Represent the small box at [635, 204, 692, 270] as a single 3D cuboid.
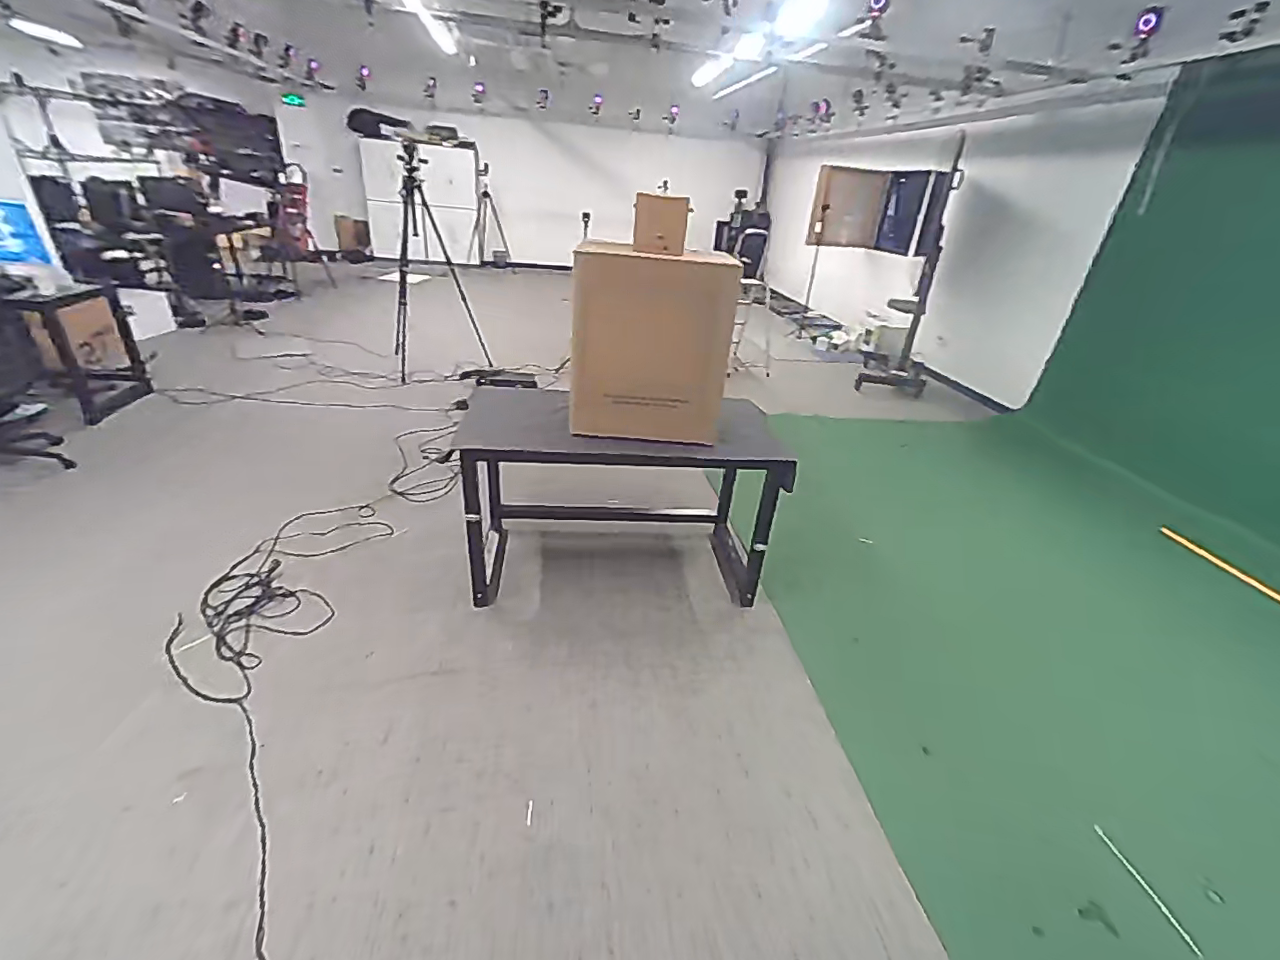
[{"bbox_3d":[0.075,-0.795,1.763,0.168,0.176,0.179,7,30,1],"label":"small box"}]
